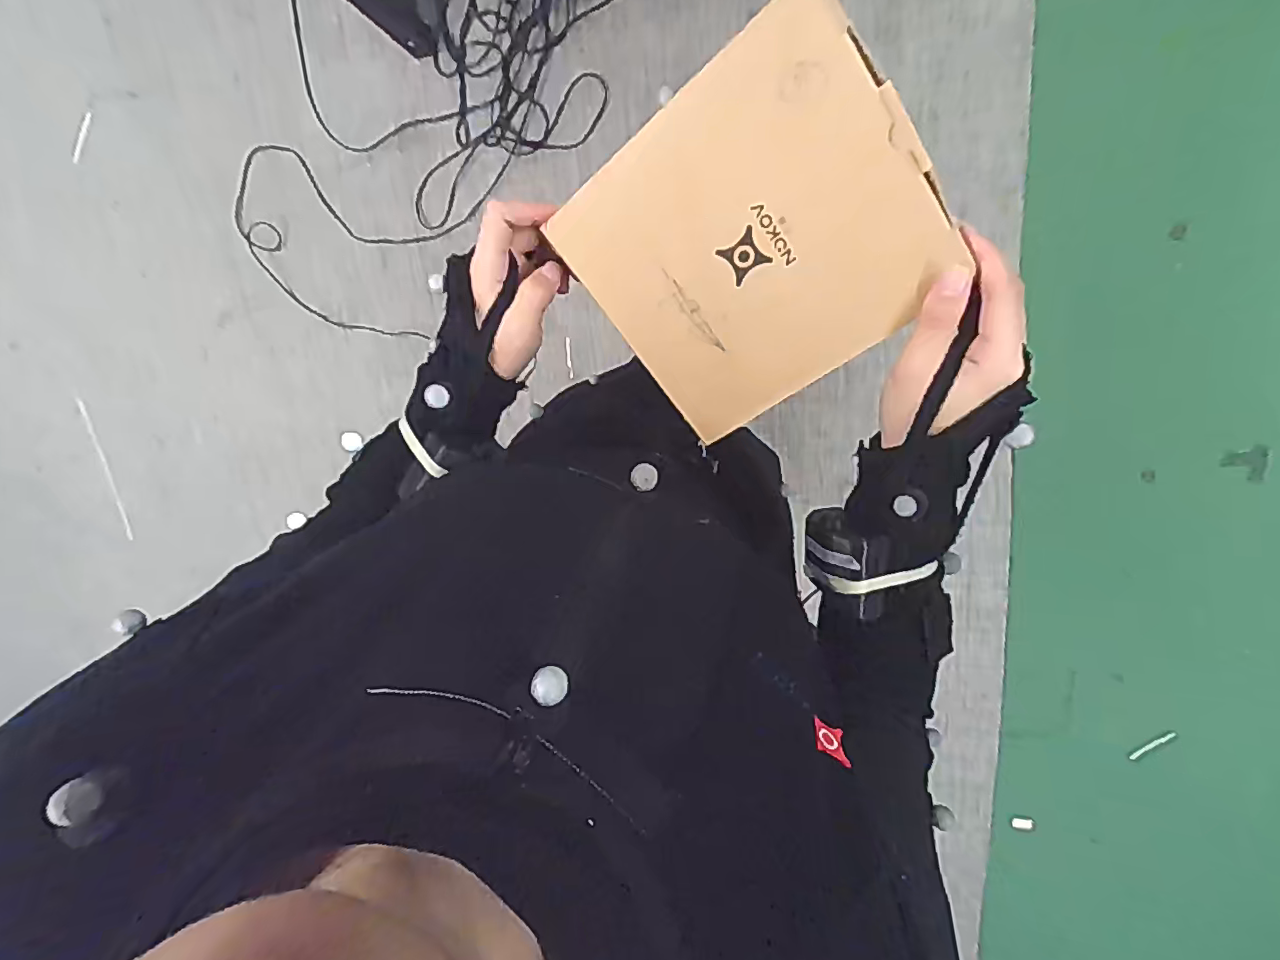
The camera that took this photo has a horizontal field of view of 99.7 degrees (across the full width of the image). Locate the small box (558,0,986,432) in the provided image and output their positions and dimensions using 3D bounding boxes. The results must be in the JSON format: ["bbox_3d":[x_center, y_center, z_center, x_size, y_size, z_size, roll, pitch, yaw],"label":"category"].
[{"bbox_3d":[0.081,-0.168,0.362,0.179,0.176,0.168,-32,106,27],"label":"small box"}]
